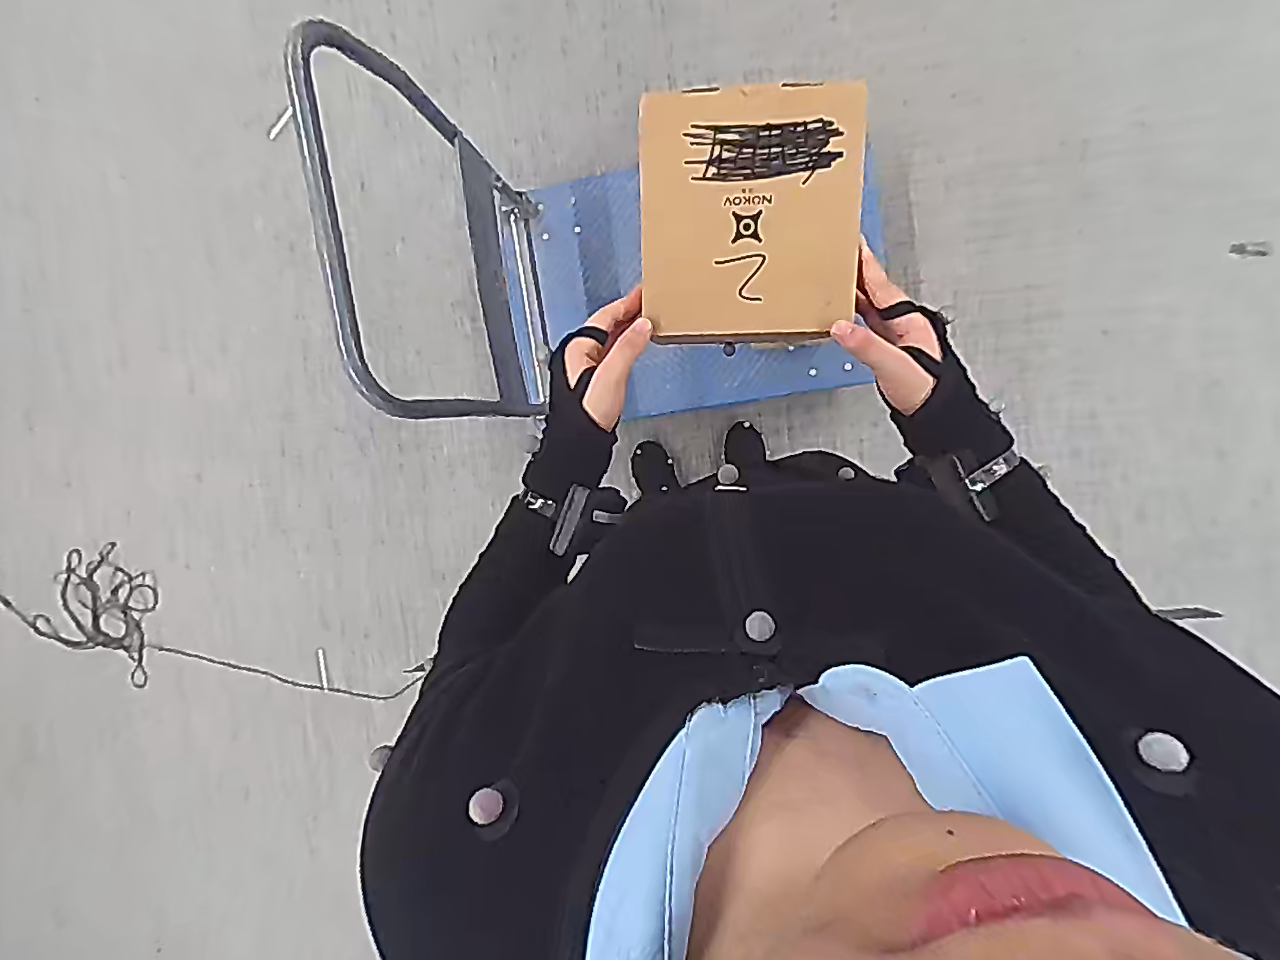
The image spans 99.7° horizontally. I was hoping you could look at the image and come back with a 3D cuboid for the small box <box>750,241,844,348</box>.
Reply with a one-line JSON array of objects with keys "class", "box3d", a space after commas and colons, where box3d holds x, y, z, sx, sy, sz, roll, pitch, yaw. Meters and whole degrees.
[{"class": "small box", "box3d": [0.332, -0.392, 1.168, 0.168, 0.176, 0.179, -4, 95, 7]}]
